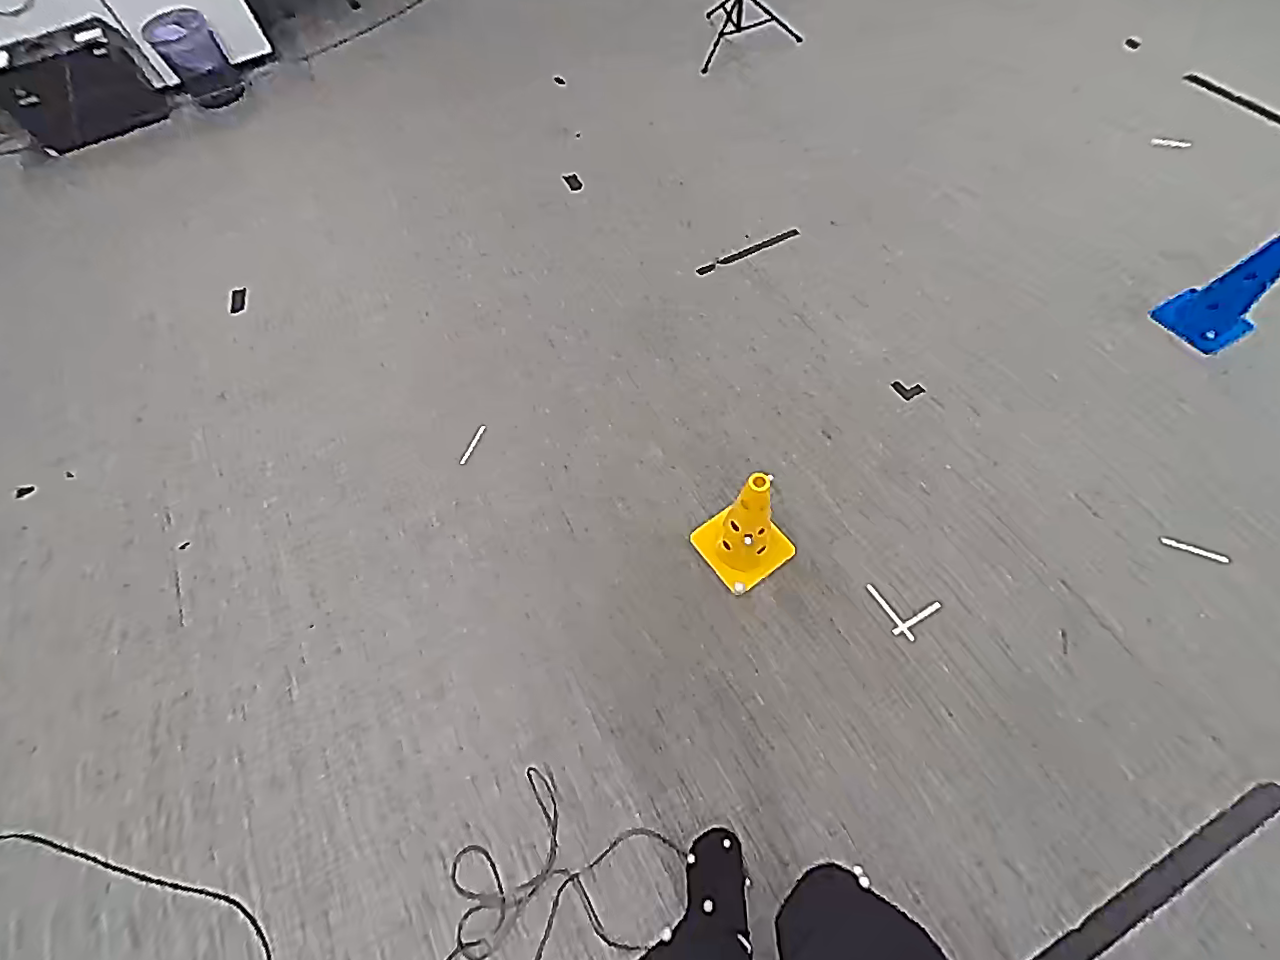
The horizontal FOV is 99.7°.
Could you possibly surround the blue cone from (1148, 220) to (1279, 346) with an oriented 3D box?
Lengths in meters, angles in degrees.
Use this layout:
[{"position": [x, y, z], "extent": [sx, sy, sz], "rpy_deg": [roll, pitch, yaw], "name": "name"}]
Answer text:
[{"position": [1.624, -0.559, 1.451], "extent": [0.193, 0.380, 0.192], "rpy_deg": [-27, 62, -9], "name": "blue cone"}]
